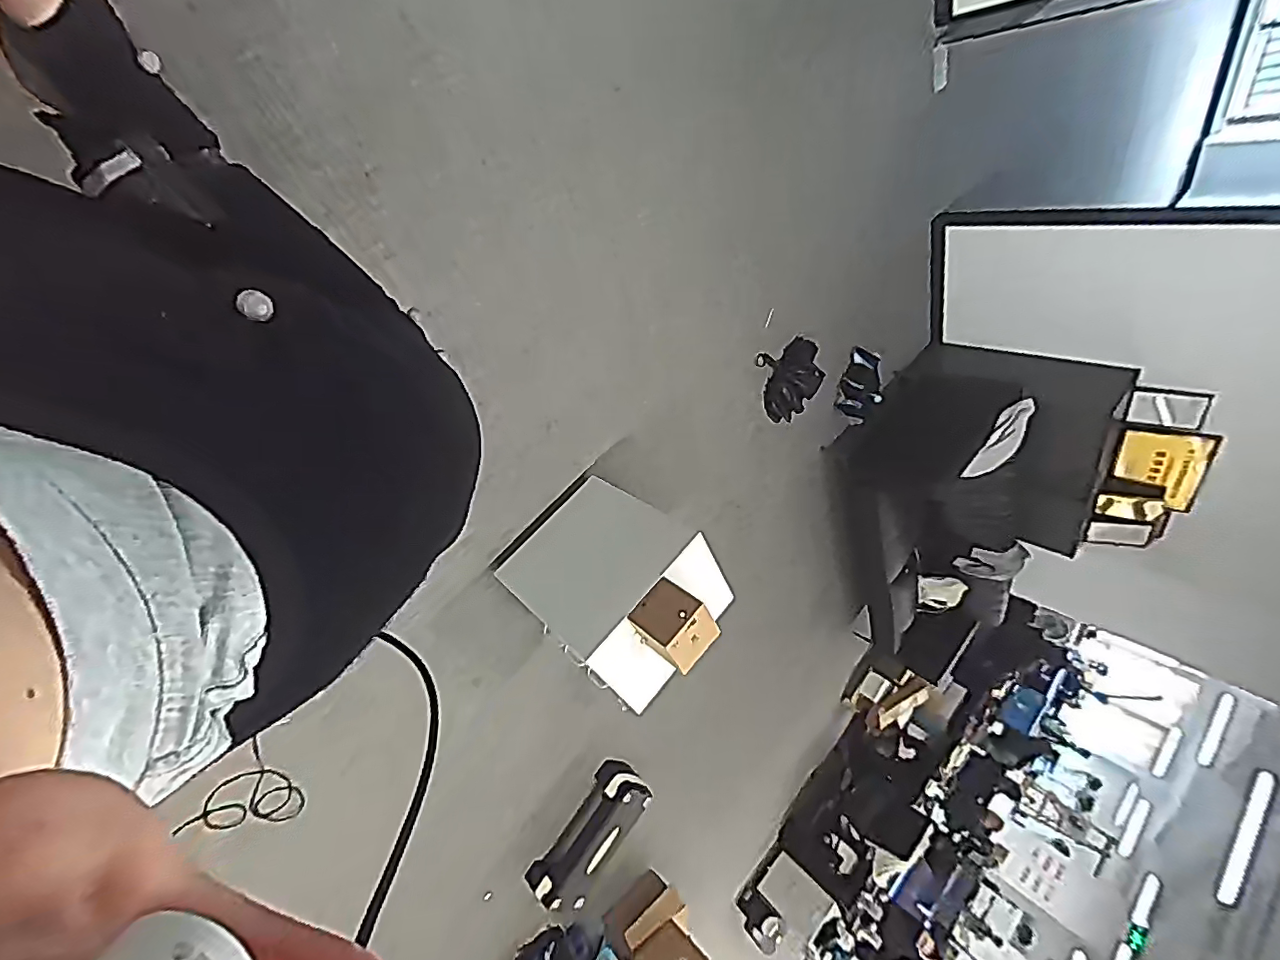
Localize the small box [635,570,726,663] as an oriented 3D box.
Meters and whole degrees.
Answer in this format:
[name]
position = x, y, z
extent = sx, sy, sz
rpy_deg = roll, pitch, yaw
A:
[small box]
position = 0.118, 0.390, 1.572
extent = 0.168, 0.176, 0.179
rpy_deg = -48, 136, -18
